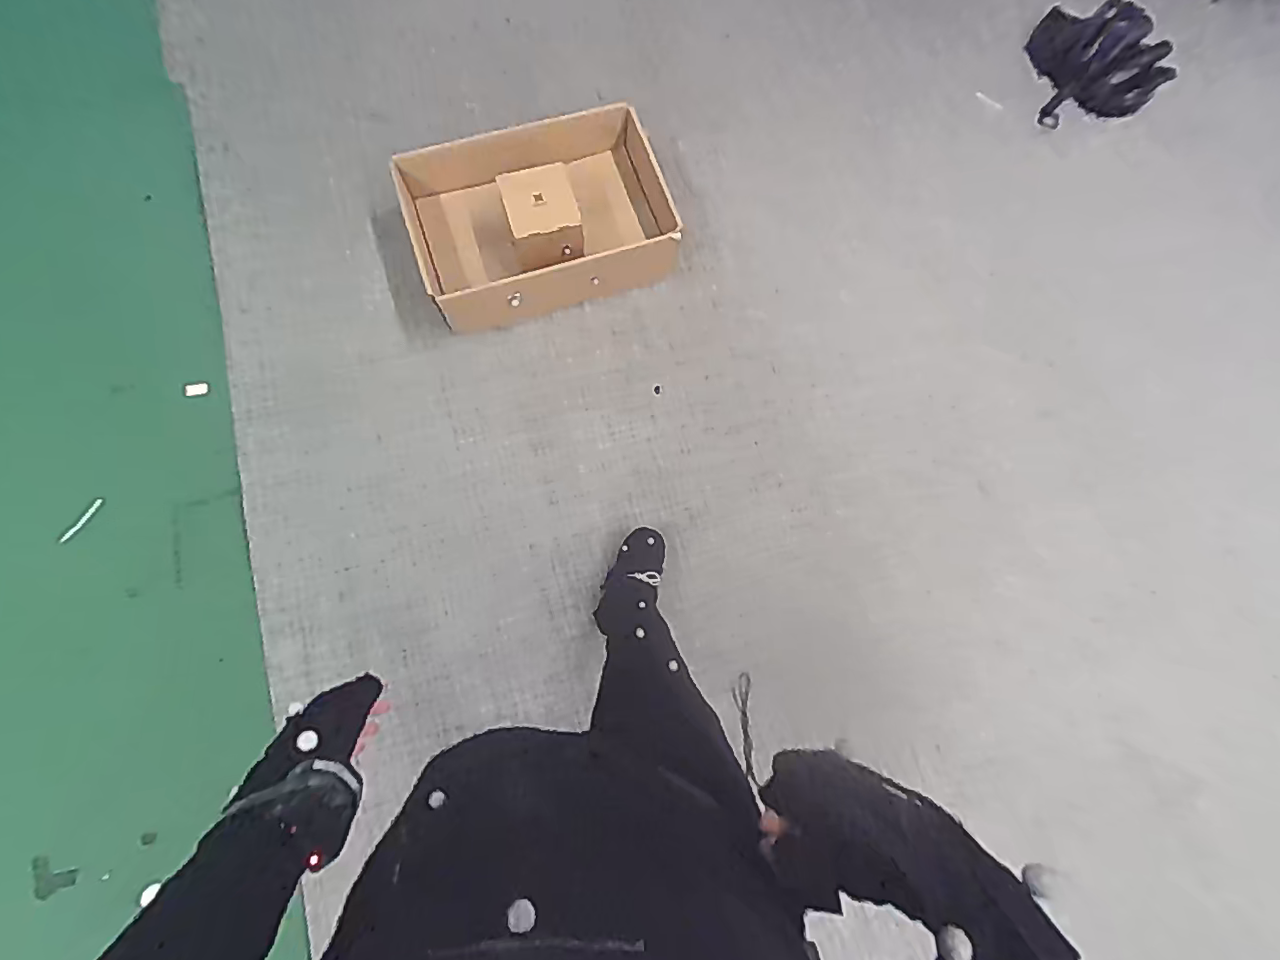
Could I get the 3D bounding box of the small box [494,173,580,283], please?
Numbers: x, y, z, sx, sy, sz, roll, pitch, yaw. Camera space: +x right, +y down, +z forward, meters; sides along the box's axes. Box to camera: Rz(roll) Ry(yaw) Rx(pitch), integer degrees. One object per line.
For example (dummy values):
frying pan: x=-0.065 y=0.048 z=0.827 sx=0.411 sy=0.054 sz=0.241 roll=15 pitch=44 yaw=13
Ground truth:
small box: x=-0.248 y=-0.613 z=1.342 sx=0.168 sy=0.176 sz=0.179 roll=-17 pitch=77 yaw=-9
